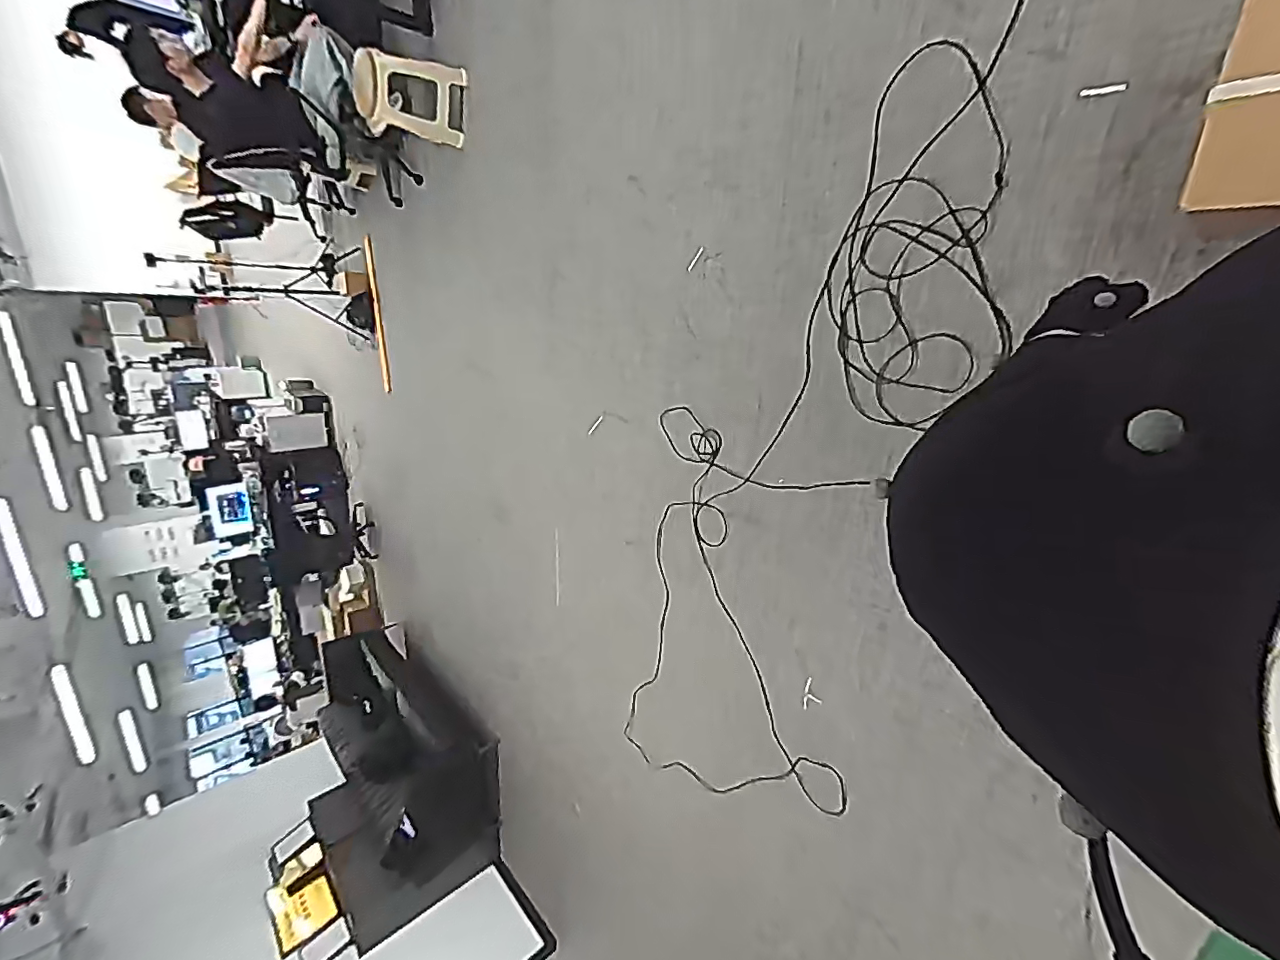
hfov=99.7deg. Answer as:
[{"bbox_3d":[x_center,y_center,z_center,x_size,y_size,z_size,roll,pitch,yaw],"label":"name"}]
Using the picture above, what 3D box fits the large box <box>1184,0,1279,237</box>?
[{"bbox_3d":[1.077,-0.536,0.746,0.408,0.320,0.320,20,115,43],"label":"large box"}]
